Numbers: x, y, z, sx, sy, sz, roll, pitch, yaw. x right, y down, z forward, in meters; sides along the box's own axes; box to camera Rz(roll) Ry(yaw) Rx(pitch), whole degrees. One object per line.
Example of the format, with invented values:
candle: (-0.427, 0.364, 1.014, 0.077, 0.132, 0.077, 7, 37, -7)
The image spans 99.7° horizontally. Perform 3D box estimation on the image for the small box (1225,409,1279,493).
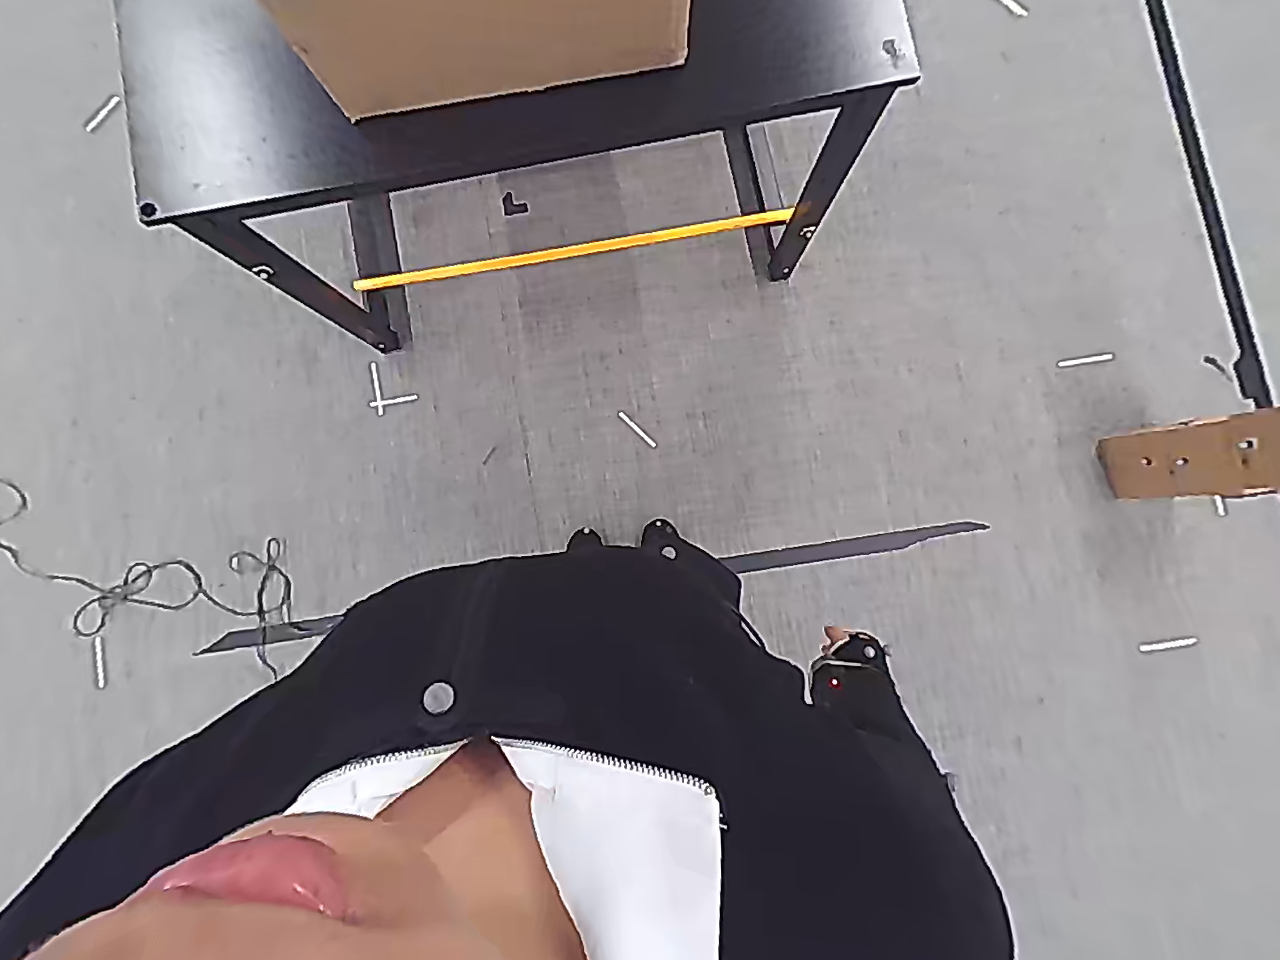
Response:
small box: (1.351, -0.064, 1.080, 0.179, 0.176, 0.168, -4, 85, 2)

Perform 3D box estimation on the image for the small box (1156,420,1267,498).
small box: (1.361, -0.053, 1.243, 0.179, 0.176, 0.168, -10, 86, 1)

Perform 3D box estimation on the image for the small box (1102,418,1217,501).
small box: (1.363, -0.048, 1.407, 0.168, 0.176, 0.179, -13, 87, 0)
